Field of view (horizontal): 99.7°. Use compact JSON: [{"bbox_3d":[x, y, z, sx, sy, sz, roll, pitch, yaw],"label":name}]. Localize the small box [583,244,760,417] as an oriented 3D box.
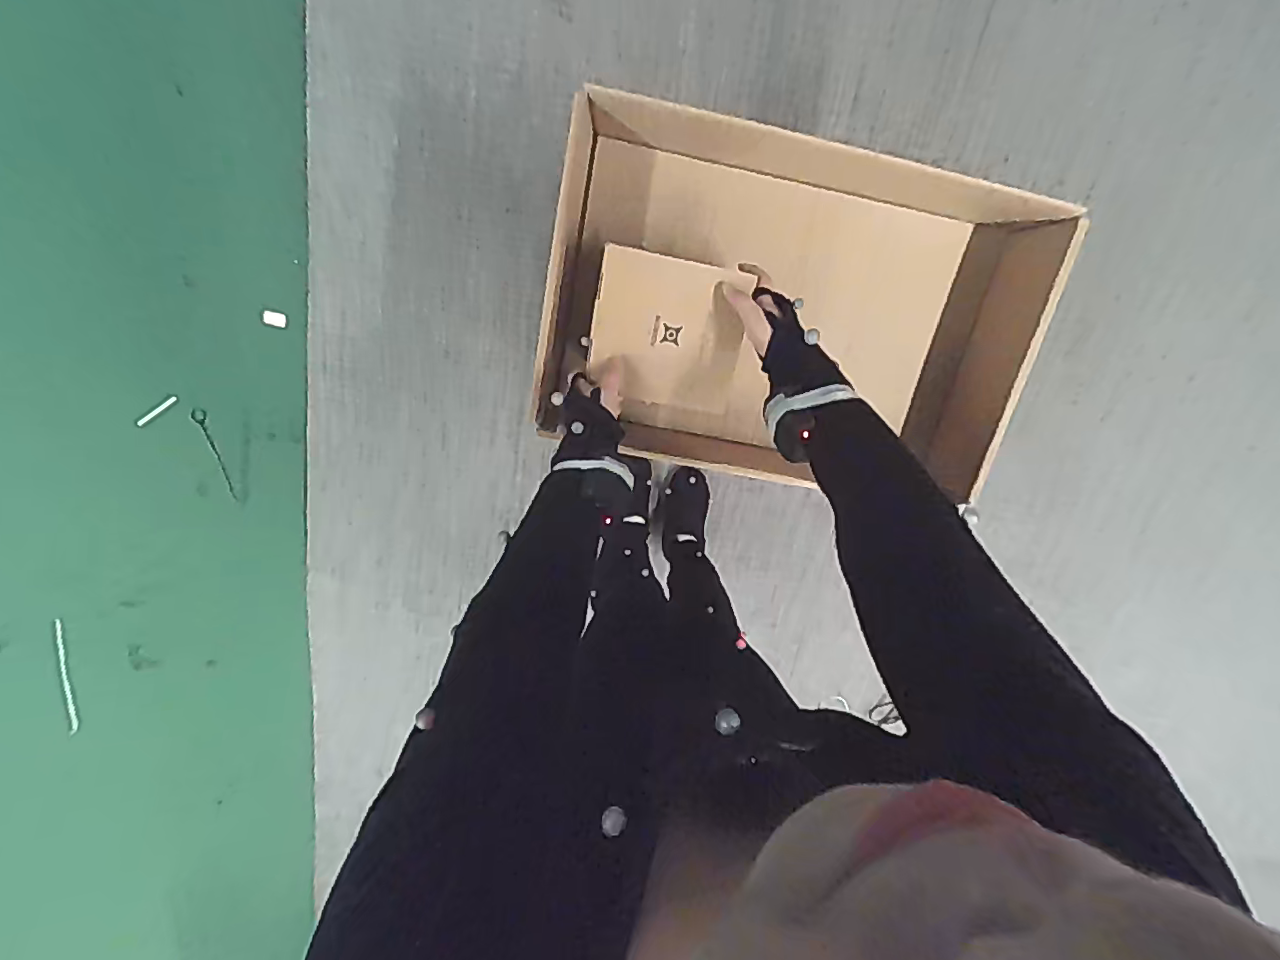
[{"bbox_3d":[0.031,-0.194,0.694,0.179,0.176,0.168,10,111,-5],"label":"small box"}]
